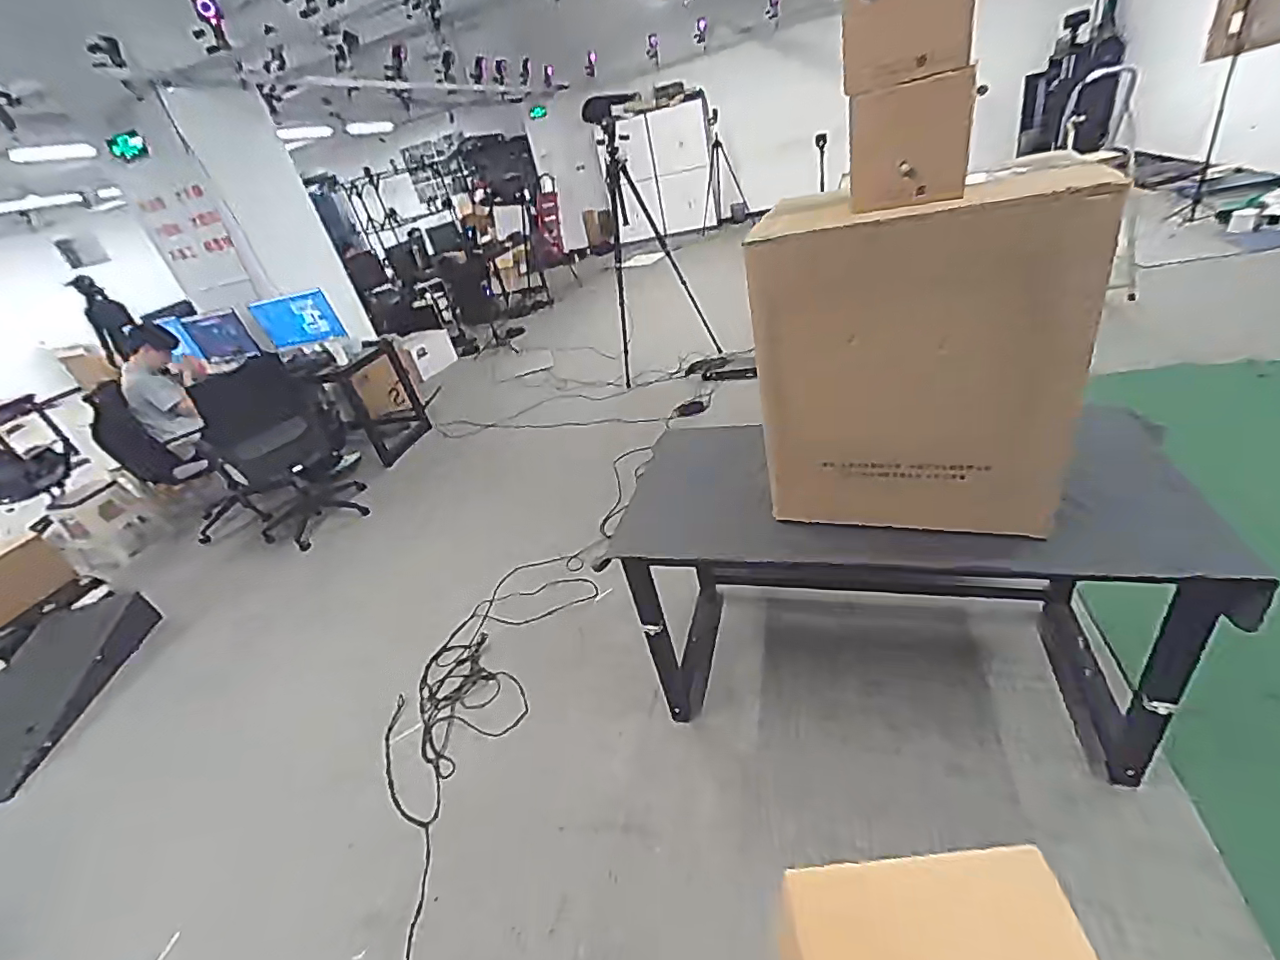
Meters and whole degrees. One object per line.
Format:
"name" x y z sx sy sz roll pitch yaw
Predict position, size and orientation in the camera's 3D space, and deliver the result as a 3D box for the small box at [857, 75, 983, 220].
"small box" 0.458 -0.543 0.893 0.168 0.176 0.179 6 39 29
